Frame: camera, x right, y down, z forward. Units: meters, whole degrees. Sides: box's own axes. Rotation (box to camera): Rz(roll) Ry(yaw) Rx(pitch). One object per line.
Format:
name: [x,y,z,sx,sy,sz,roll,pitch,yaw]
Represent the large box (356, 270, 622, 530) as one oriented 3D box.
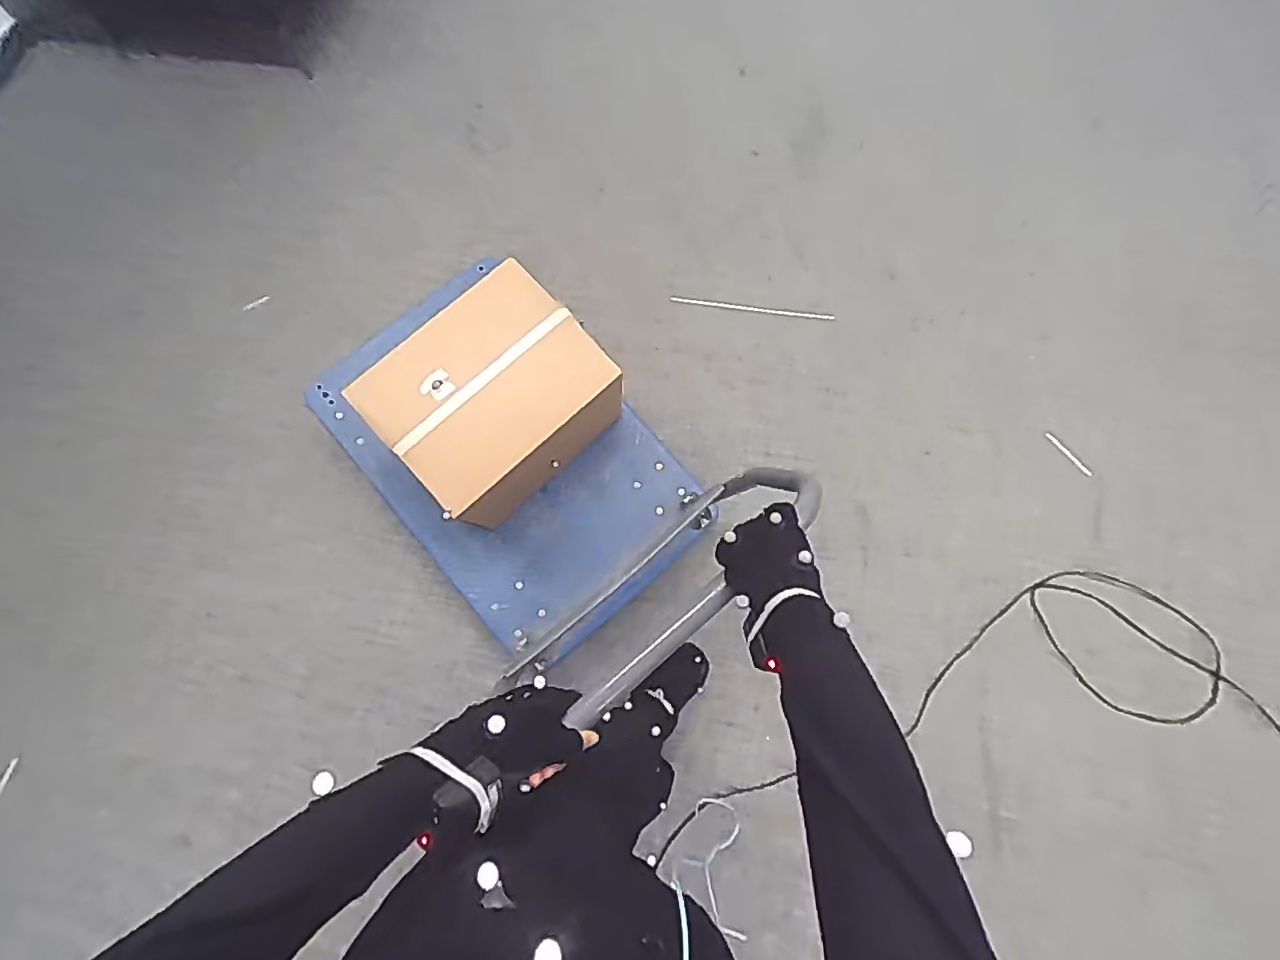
large box: [-0.283,-0.143,1.148,0.408,0.320,0.320,-44,85,-7]
